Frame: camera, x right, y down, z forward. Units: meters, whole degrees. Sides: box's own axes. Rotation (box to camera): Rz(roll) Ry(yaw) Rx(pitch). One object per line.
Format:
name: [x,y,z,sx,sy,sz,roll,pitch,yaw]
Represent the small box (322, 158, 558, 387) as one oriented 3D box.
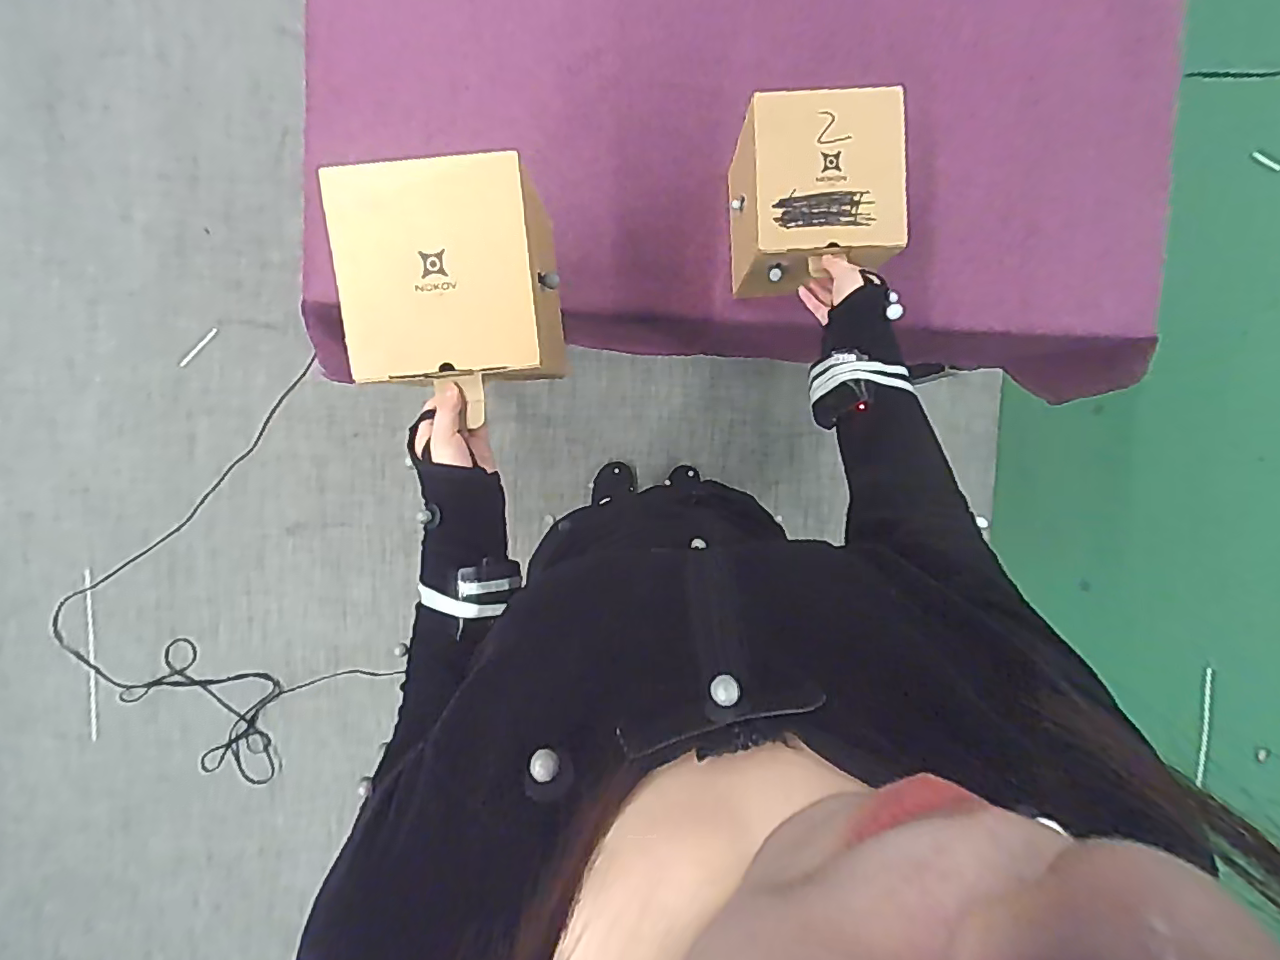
small box: [-0.180,-0.189,0.540,0.168,0.176,0.179,-5,99,0]
